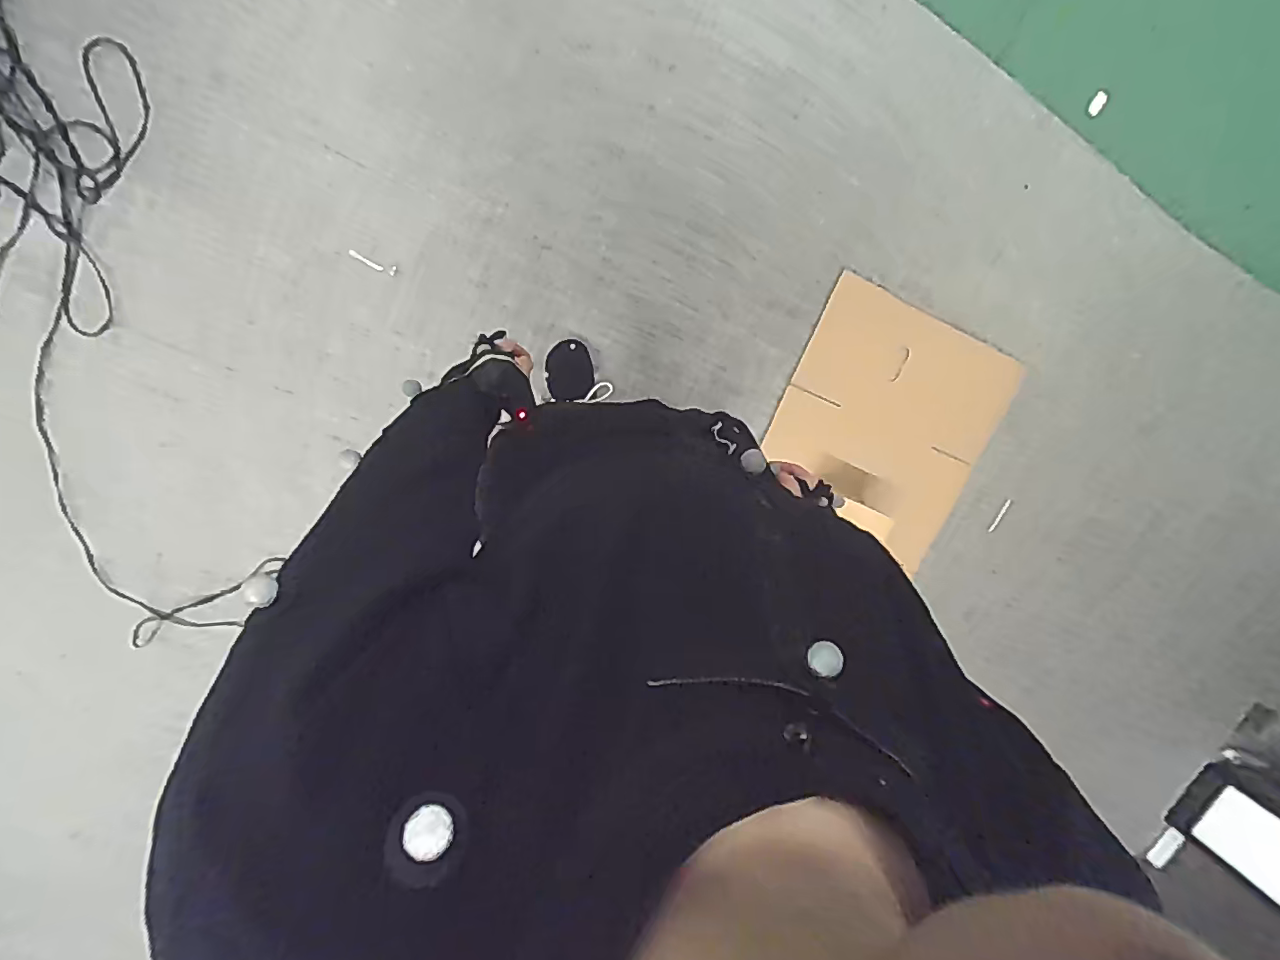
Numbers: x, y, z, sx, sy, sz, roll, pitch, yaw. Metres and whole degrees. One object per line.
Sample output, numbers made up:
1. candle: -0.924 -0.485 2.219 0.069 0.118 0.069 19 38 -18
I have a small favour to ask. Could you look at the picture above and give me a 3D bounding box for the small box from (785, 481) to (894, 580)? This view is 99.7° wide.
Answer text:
1. small box: 0.500 0.123 1.384 0.168 0.176 0.179 22 103 -14
